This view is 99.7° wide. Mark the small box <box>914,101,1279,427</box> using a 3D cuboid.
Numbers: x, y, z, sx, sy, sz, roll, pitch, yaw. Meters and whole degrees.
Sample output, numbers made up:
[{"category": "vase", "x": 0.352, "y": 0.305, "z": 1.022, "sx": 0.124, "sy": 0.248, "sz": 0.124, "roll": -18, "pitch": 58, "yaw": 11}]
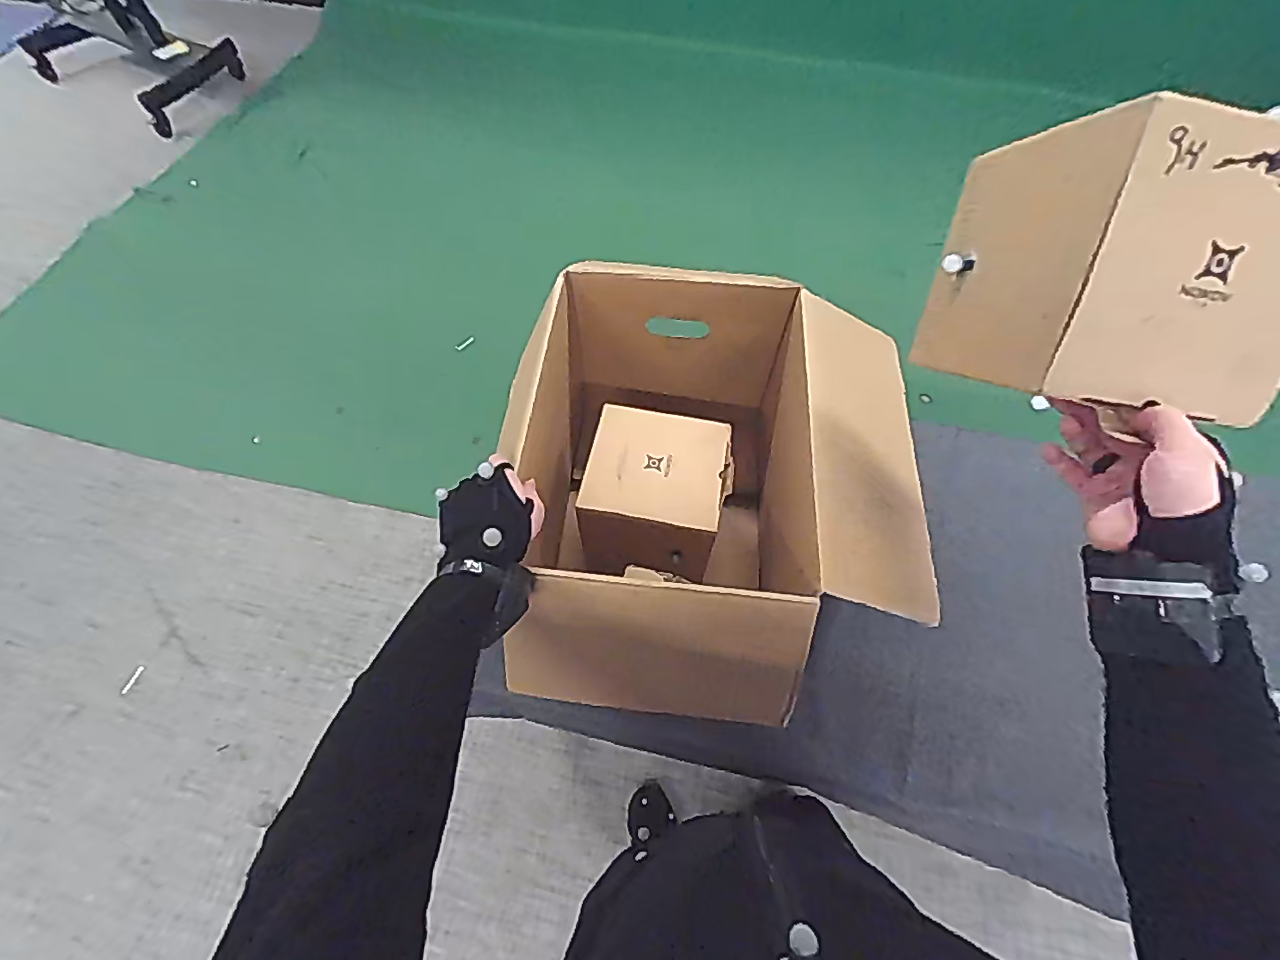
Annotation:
[{"category": "small box", "x": 0.347, "y": -0.155, "z": 0.421, "sx": 0.168, "sy": 0.179, "sz": 0.176, "roll": 7, "pitch": 19, "yaw": -6}]
